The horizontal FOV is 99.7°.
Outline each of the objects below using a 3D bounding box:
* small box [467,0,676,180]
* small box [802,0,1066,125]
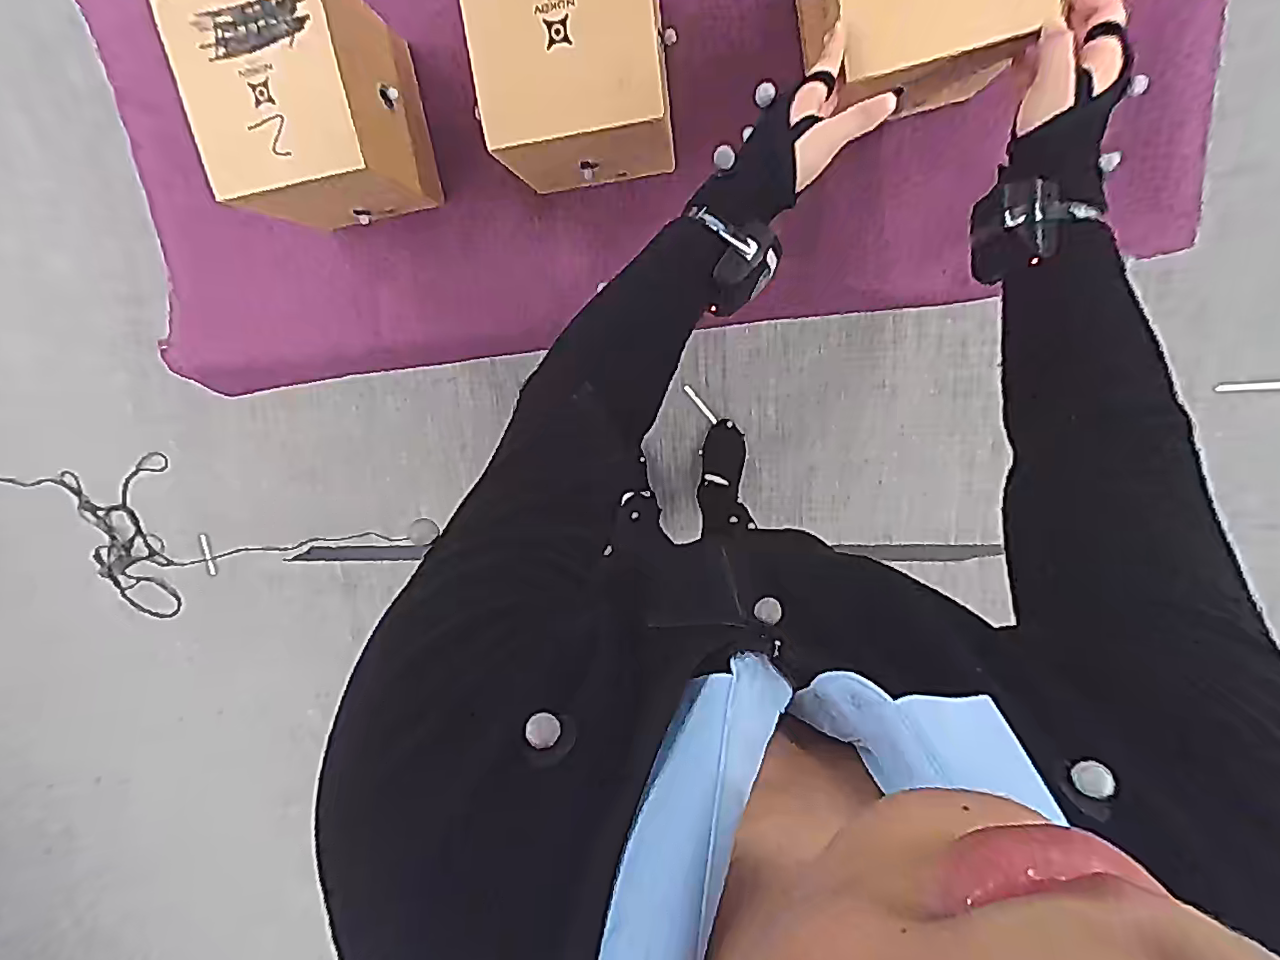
[{"bbox_3d":[-0.056,-0.415,0.535,0.168,0.176,0.179,-5,104,8],"label":"small box"},{"bbox_3d":[0.246,-0.451,0.488,0.168,0.176,0.179,-9,105,11],"label":"small box"}]
